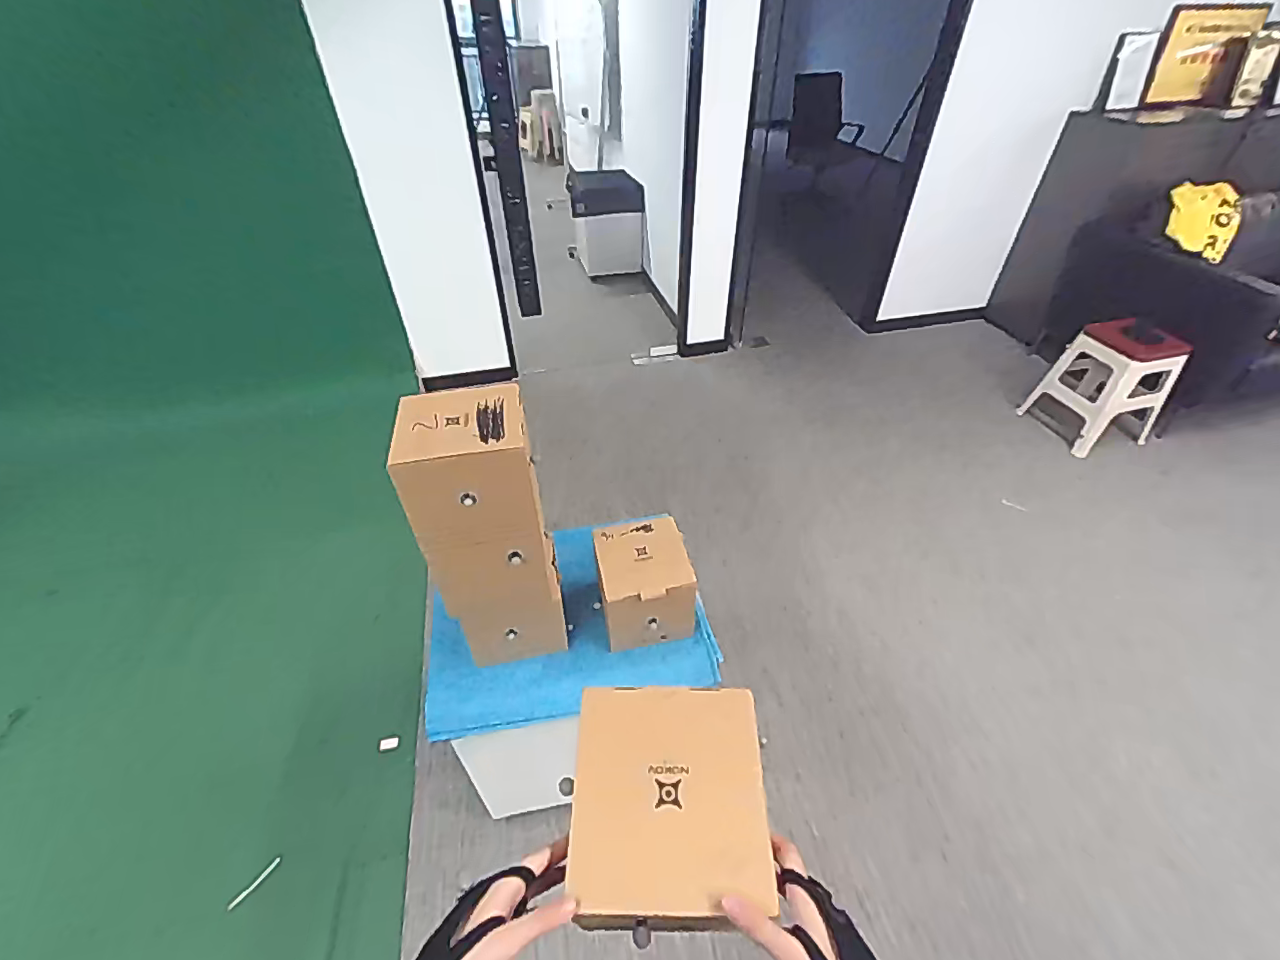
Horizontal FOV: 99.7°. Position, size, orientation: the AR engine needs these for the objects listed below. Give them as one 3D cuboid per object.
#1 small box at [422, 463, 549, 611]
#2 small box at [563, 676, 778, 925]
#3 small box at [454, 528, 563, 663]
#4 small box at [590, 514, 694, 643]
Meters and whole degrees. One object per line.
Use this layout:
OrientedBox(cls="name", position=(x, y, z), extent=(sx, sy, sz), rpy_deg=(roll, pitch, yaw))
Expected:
OrientedBox(cls="small box", position=(-0.249, 0.096, 0.906), extent=(0.179, 0.176, 0.168), rpy_deg=(-8, 41, -10))
OrientedBox(cls="small box", position=(0.026, 0.307, 0.517), extent=(0.168, 0.176, 0.179), rpy_deg=(1, 46, 1))
OrientedBox(cls="small box", position=(-0.240, 0.217, 1.016), extent=(0.179, 0.176, 0.168), rpy_deg=(-9, 41, -9))
OrientedBox(cls="small box", position=(0.000, 0.195, 1.042), extent=(0.168, 0.176, 0.179), rpy_deg=(-8, 42, -9))
